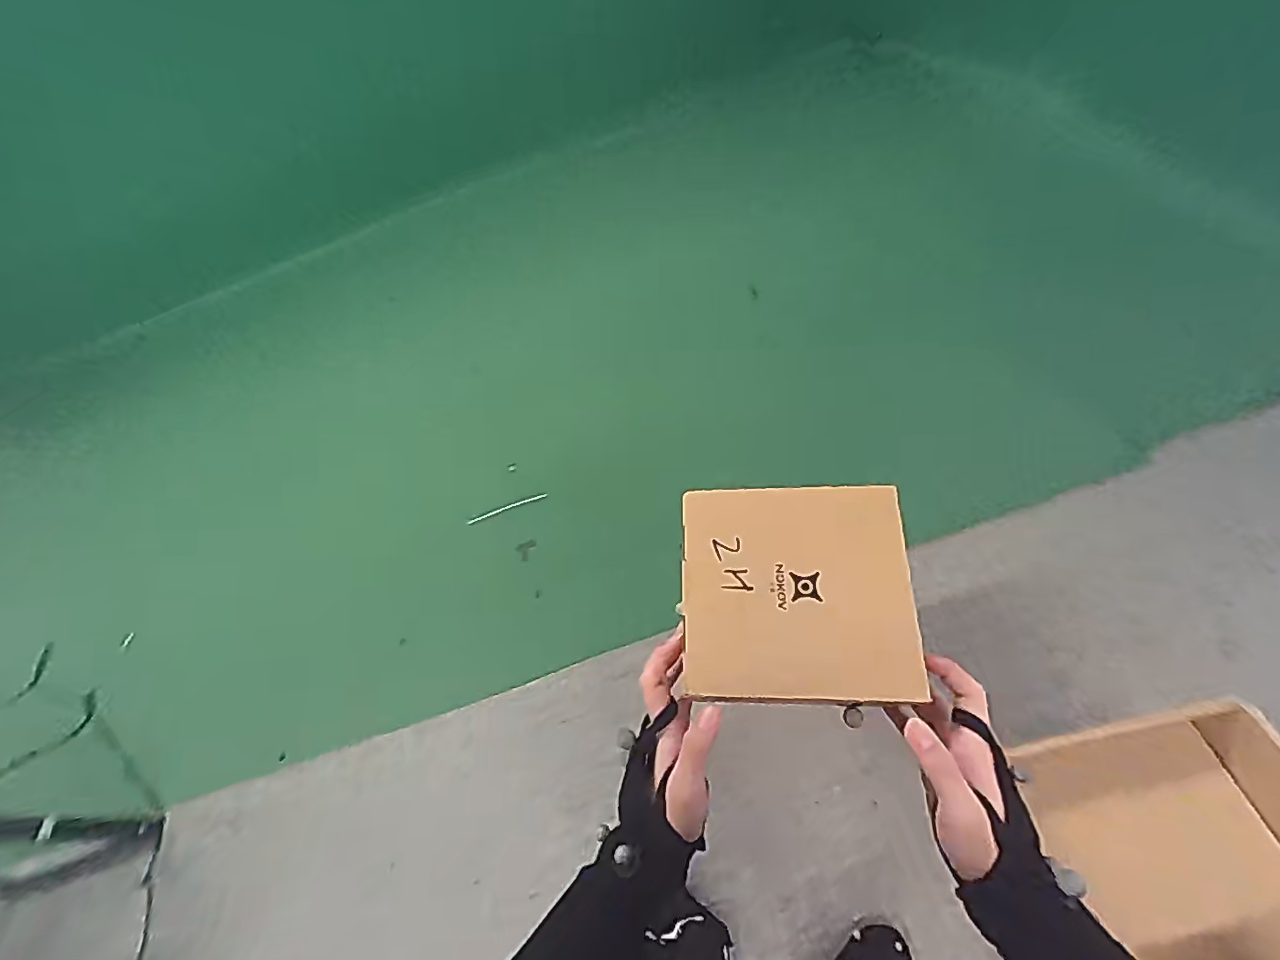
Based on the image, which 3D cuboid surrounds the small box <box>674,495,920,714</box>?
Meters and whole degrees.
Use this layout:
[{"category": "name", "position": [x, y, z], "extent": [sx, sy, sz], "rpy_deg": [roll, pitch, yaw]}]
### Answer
[{"category": "small box", "position": [0.124, 0.120, 0.492], "extent": [0.179, 0.176, 0.168], "rpy_deg": [-3, 66, 9]}]
